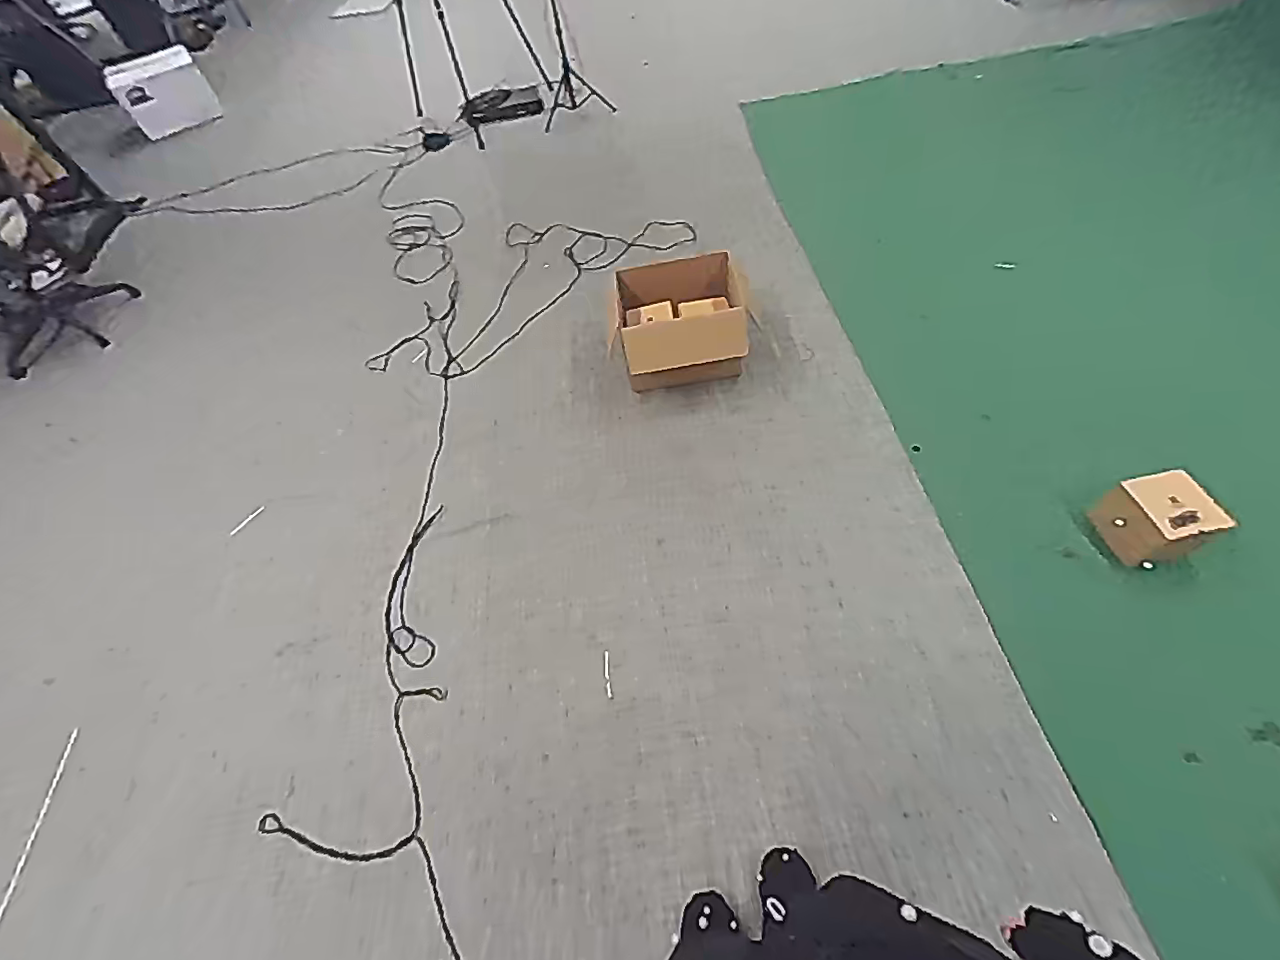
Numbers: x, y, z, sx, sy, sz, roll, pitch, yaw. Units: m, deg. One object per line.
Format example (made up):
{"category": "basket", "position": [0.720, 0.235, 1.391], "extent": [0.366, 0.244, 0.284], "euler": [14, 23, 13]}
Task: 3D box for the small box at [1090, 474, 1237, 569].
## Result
{"category": "small box", "position": [1.325, 0.114, 1.386], "extent": [0.168, 0.176, 0.179], "euler": [-12, 54, 1]}
